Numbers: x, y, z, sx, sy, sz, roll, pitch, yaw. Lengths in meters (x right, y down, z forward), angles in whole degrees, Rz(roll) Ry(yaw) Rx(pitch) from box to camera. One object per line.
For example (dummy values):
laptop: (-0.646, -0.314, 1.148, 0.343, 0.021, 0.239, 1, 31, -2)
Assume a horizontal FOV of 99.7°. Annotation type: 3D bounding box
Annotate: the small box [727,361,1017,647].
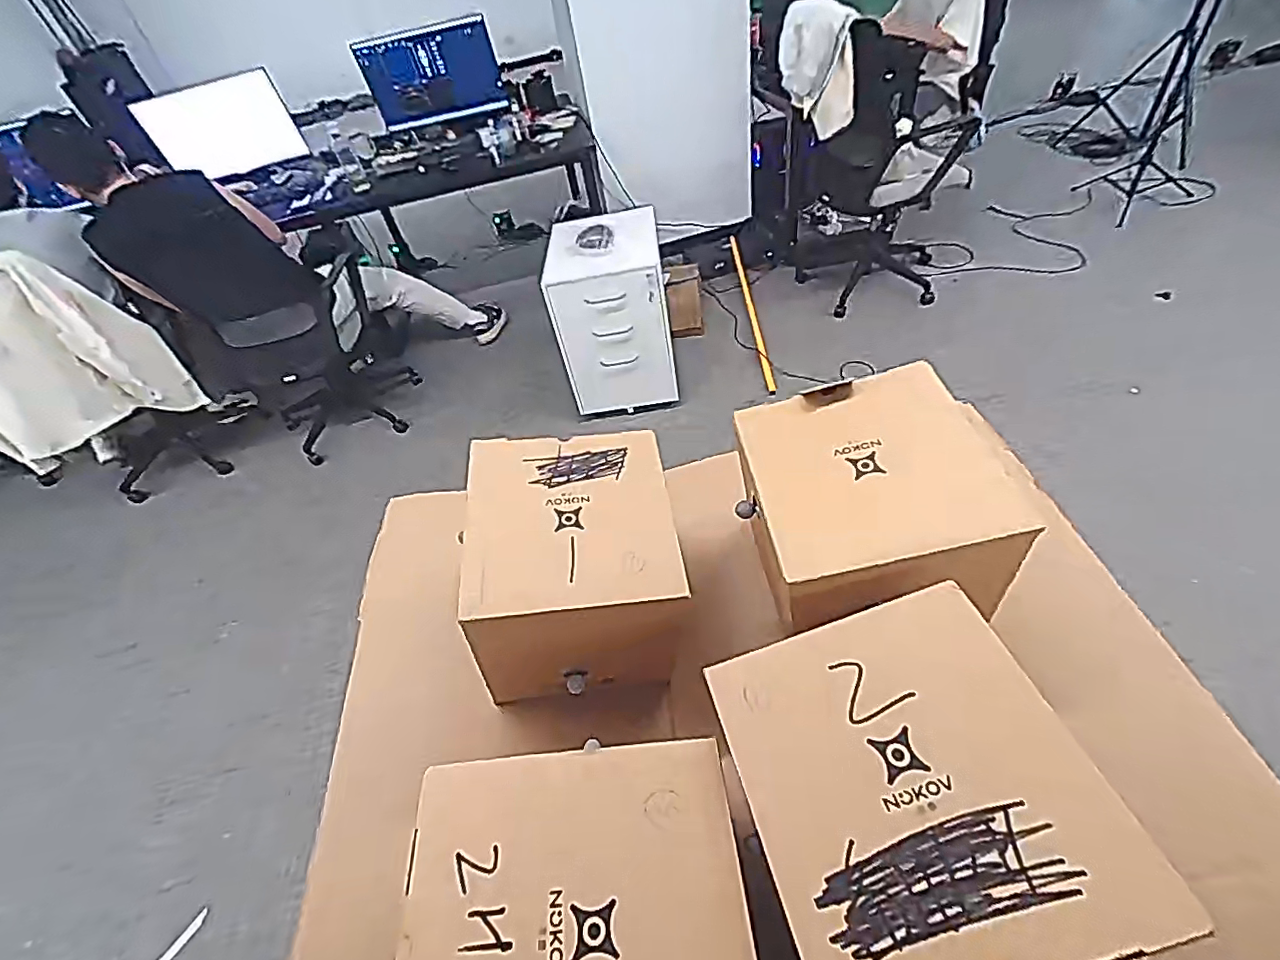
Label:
small box: (0.185, 0.031, 0.478, 0.168, 0.176, 0.179, -15, 48, 7)
